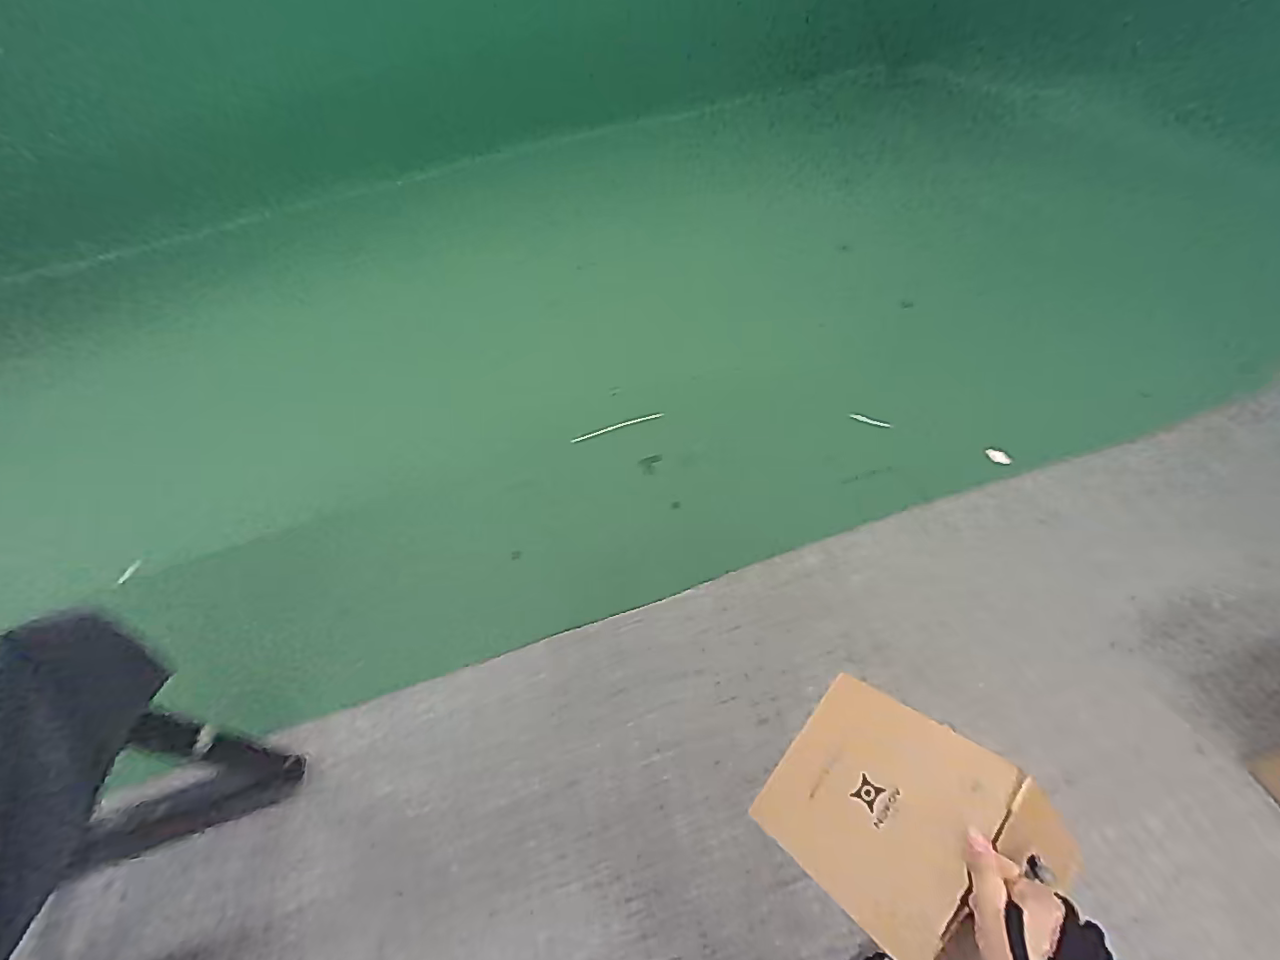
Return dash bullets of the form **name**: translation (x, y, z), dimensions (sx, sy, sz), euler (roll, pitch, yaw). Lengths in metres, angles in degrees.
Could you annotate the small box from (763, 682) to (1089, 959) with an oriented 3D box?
- **small box**: translation (0.253, 0.324, 0.482), dimensions (0.168, 0.176, 0.179), euler (-47, 26, -15)
